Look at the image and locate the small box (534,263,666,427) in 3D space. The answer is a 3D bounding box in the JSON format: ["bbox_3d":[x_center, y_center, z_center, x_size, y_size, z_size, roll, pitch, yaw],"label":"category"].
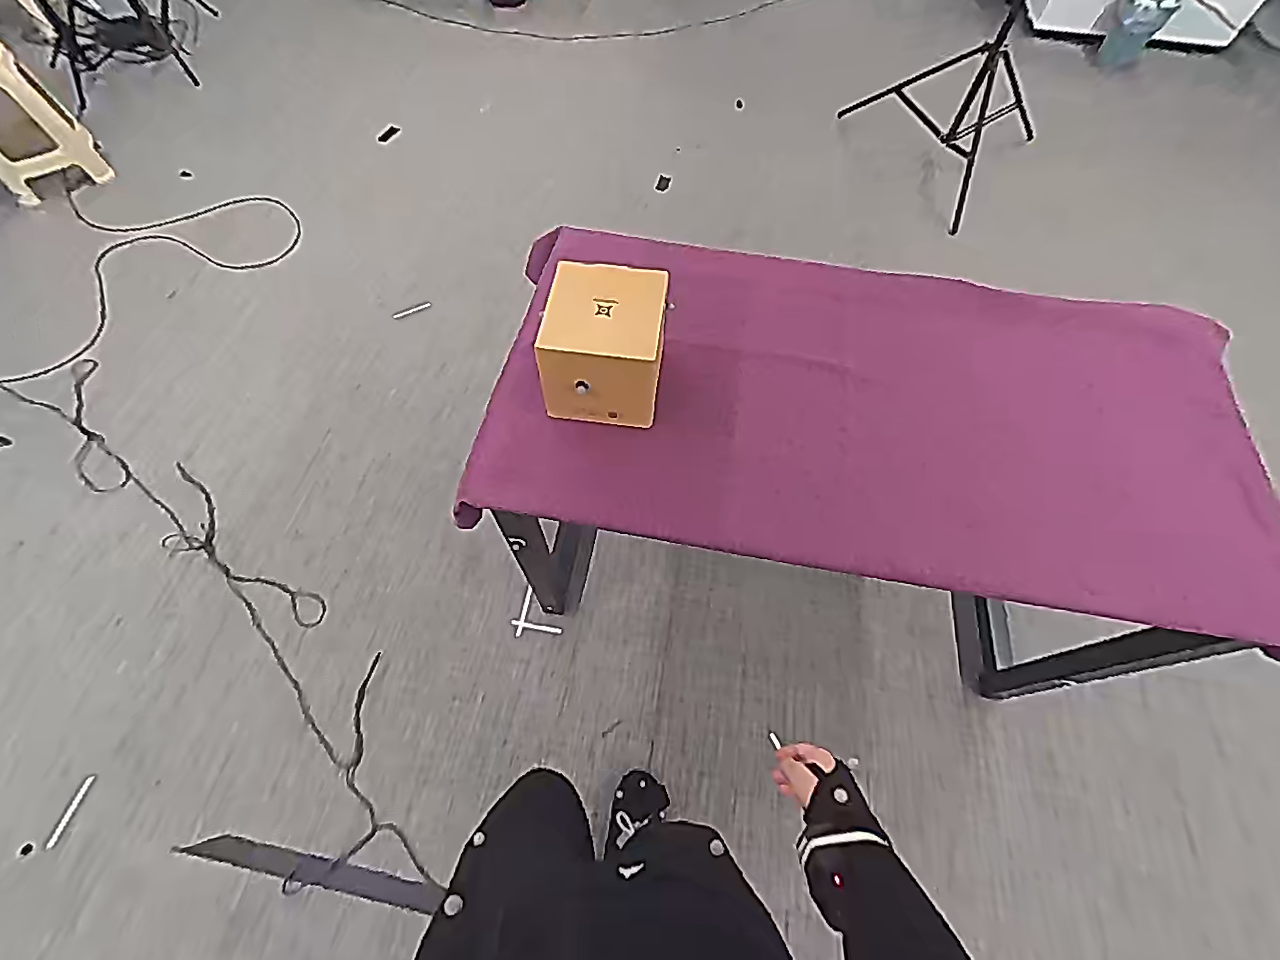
[{"bbox_3d":[-0.053,-0.201,0.830,0.168,0.176,0.179,7,61,2],"label":"small box"}]
